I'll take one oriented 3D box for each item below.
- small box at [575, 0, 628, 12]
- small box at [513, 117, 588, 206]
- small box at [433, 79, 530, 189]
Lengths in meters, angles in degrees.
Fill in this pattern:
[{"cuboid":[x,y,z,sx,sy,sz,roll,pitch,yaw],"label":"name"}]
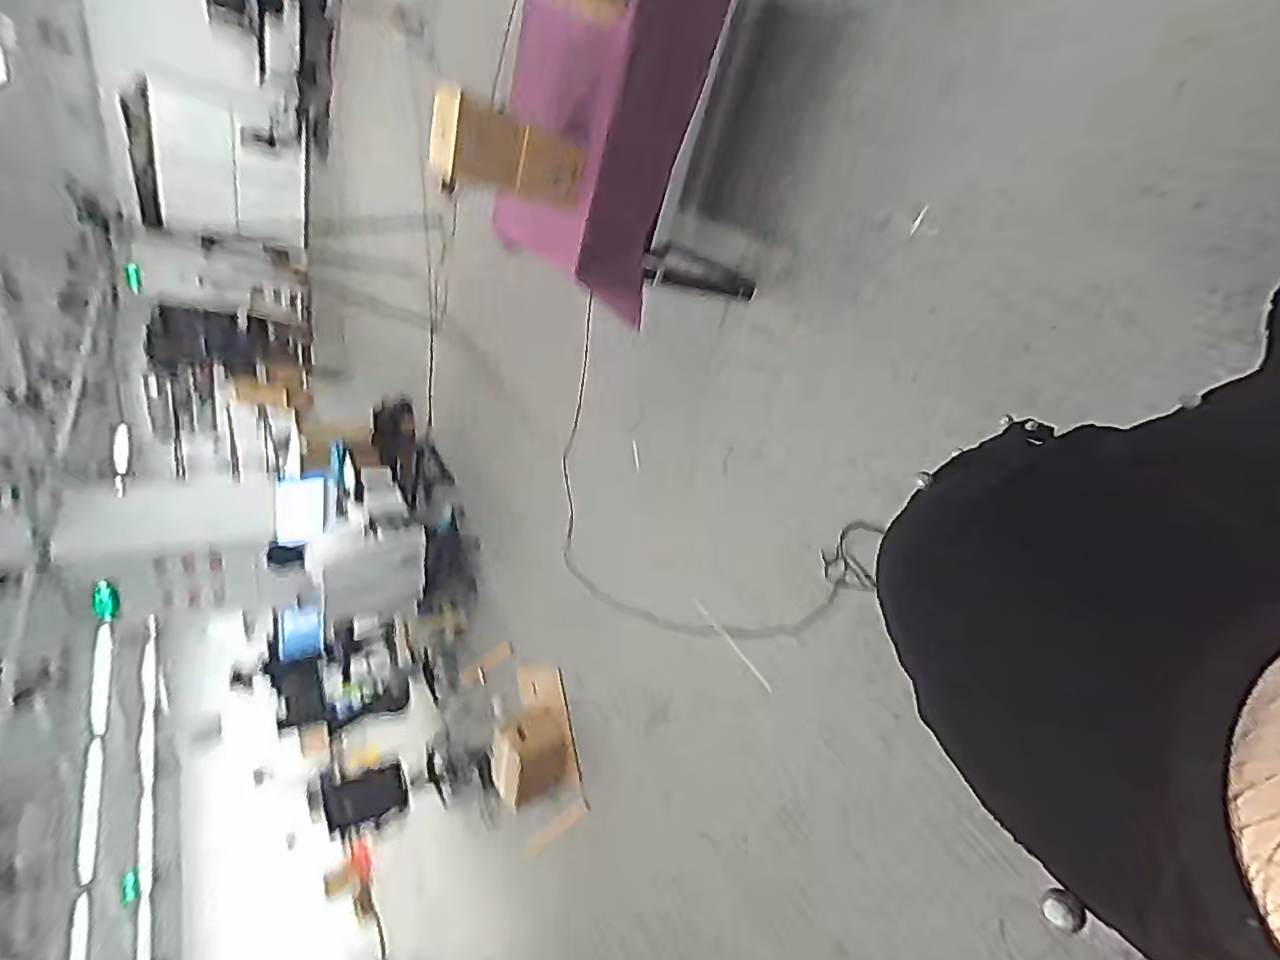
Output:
[{"cuboid":[-0.109,-1.171,1.190,0.168,0.176,0.179,47,128,39],"label":"small box"},{"cuboid":[-0.257,-0.837,1.413,0.179,0.176,0.168,48,128,38],"label":"small box"},{"cuboid":[-0.384,-0.831,1.310,0.168,0.176,0.179,46,127,38],"label":"small box"}]
